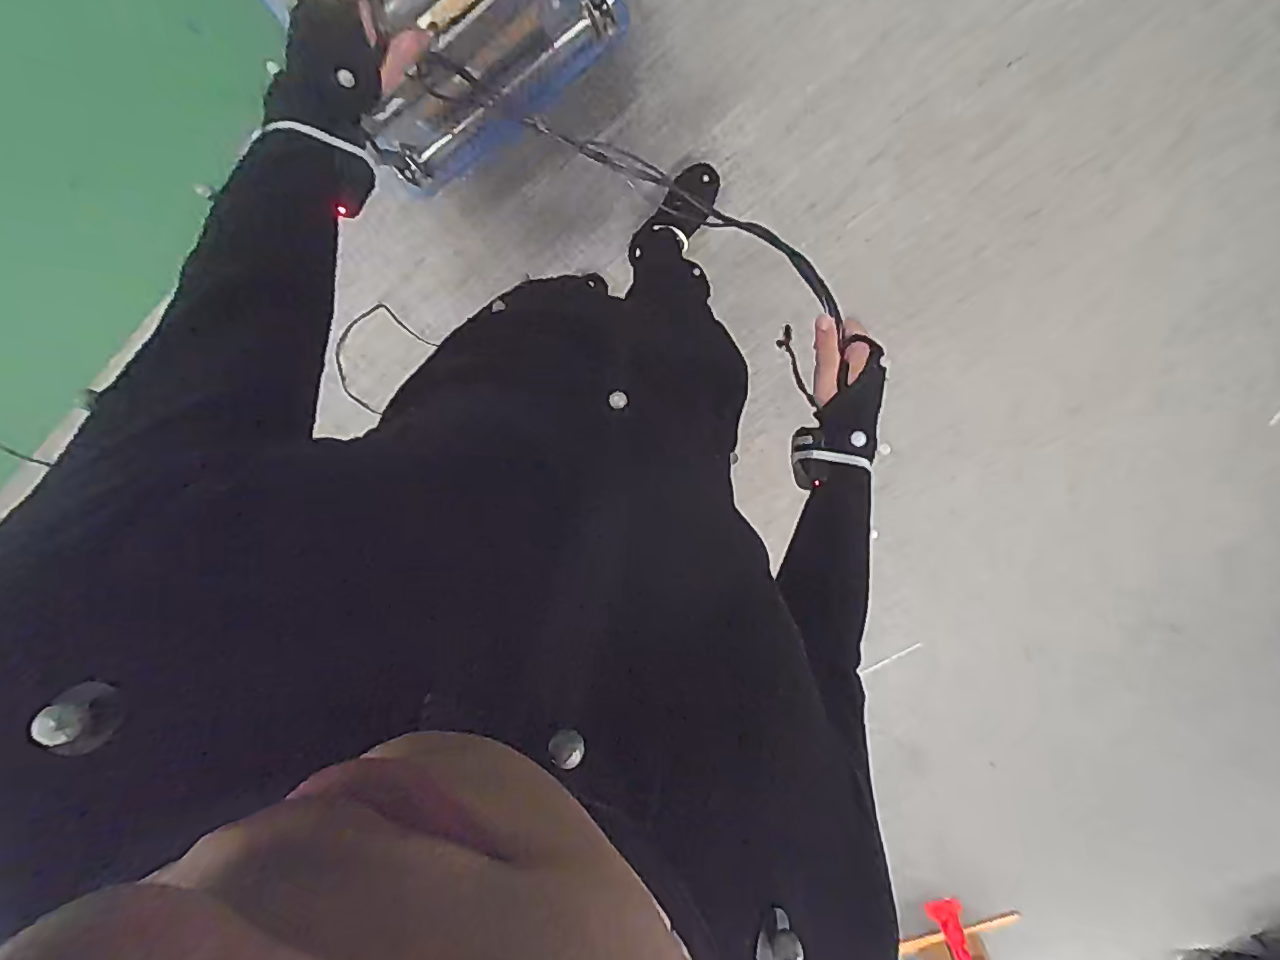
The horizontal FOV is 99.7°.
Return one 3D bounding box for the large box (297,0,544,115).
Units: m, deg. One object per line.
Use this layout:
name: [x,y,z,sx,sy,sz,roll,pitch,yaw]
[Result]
large box: [-0.412,-0.899,0.875,0.320,0.320,0.408,-29,115,12]
